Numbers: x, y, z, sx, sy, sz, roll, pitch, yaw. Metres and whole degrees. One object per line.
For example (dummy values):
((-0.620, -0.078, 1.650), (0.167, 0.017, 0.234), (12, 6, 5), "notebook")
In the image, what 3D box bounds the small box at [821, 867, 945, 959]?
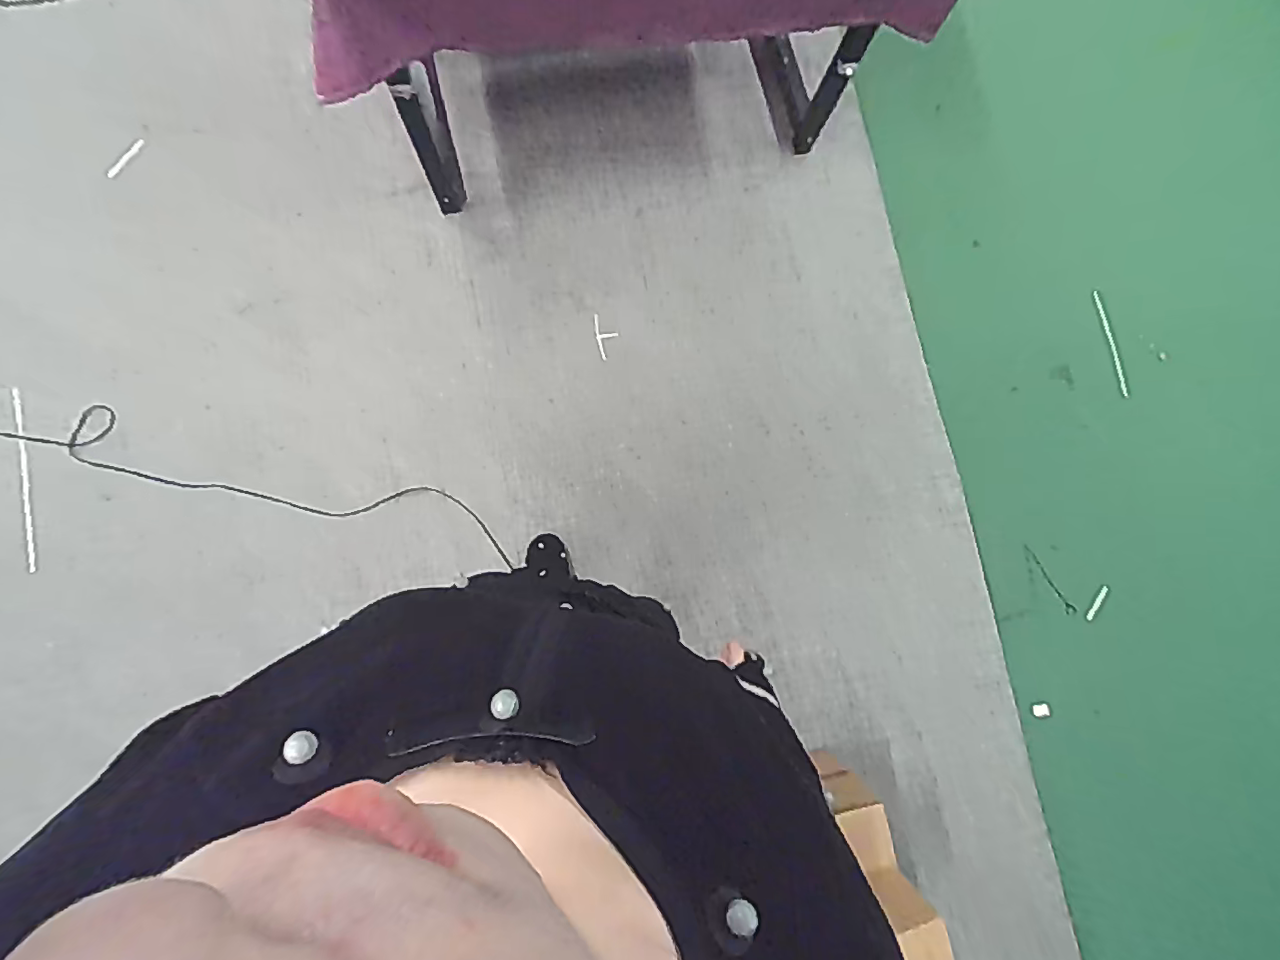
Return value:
((0.486, 0.935, 1.093), (0.179, 0.176, 0.168), (-12, 87, -8), "small box")
